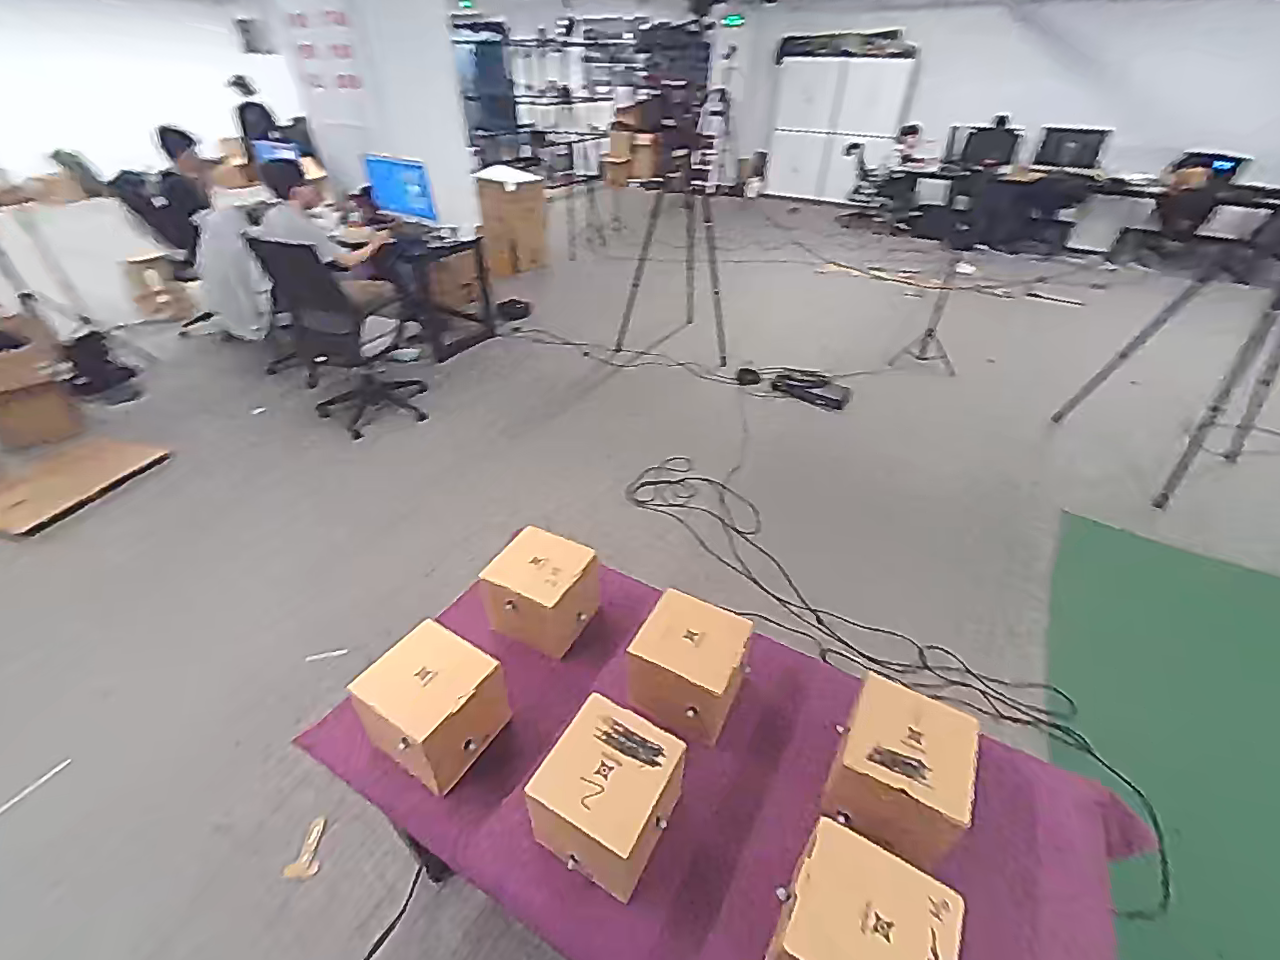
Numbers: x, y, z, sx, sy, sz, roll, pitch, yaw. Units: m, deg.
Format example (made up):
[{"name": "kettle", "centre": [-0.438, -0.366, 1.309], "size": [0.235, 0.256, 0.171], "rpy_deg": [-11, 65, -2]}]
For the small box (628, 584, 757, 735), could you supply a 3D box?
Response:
[{"name": "small box", "centre": [0.093, 0.328, 0.980], "size": [0.179, 0.176, 0.168], "rpy_deg": [19, 41, 23]}]

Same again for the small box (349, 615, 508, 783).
[{"name": "small box", "centre": [-0.348, 0.370, 0.916], "size": [0.179, 0.176, 0.168], "rpy_deg": [21, 41, 24]}]

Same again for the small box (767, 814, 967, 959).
[{"name": "small box", "centre": [0.268, 0.568, 0.663], "size": [0.179, 0.176, 0.168], "rpy_deg": [21, 41, 26]}]

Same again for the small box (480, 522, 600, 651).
[{"name": "small box", "centre": [-0.198, 0.219, 1.114], "size": [0.179, 0.176, 0.168], "rpy_deg": [18, 42, 21]}]

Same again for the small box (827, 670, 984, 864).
[{"name": "small box", "centre": [0.401, 0.440, 0.833], "size": [0.168, 0.176, 0.179], "rpy_deg": [20, 41, 25]}]
